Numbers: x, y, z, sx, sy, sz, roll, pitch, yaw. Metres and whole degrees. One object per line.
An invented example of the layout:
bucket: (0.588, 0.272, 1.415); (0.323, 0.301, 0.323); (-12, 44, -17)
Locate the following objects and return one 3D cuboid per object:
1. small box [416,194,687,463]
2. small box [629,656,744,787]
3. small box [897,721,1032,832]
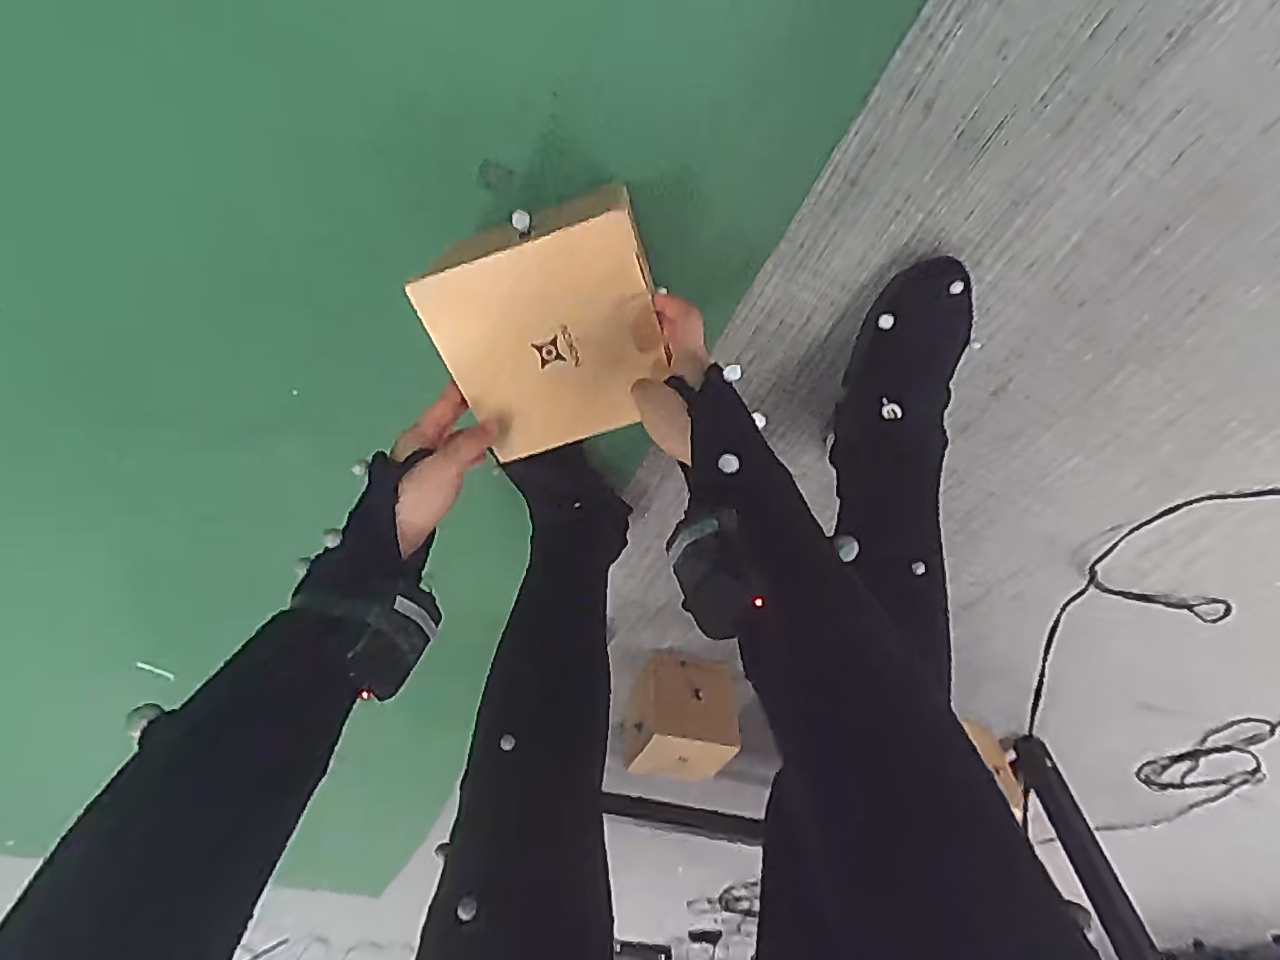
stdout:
small box: (-0.068, -0.145, 0.500); (0.179, 0.176, 0.168); (-17, 123, 6)
small box: (0.081, 0.467, 1.052); (0.168, 0.176, 0.179); (15, 129, -11)
small box: (0.724, 0.668, 1.222); (0.179, 0.176, 0.168); (29, 125, -23)
